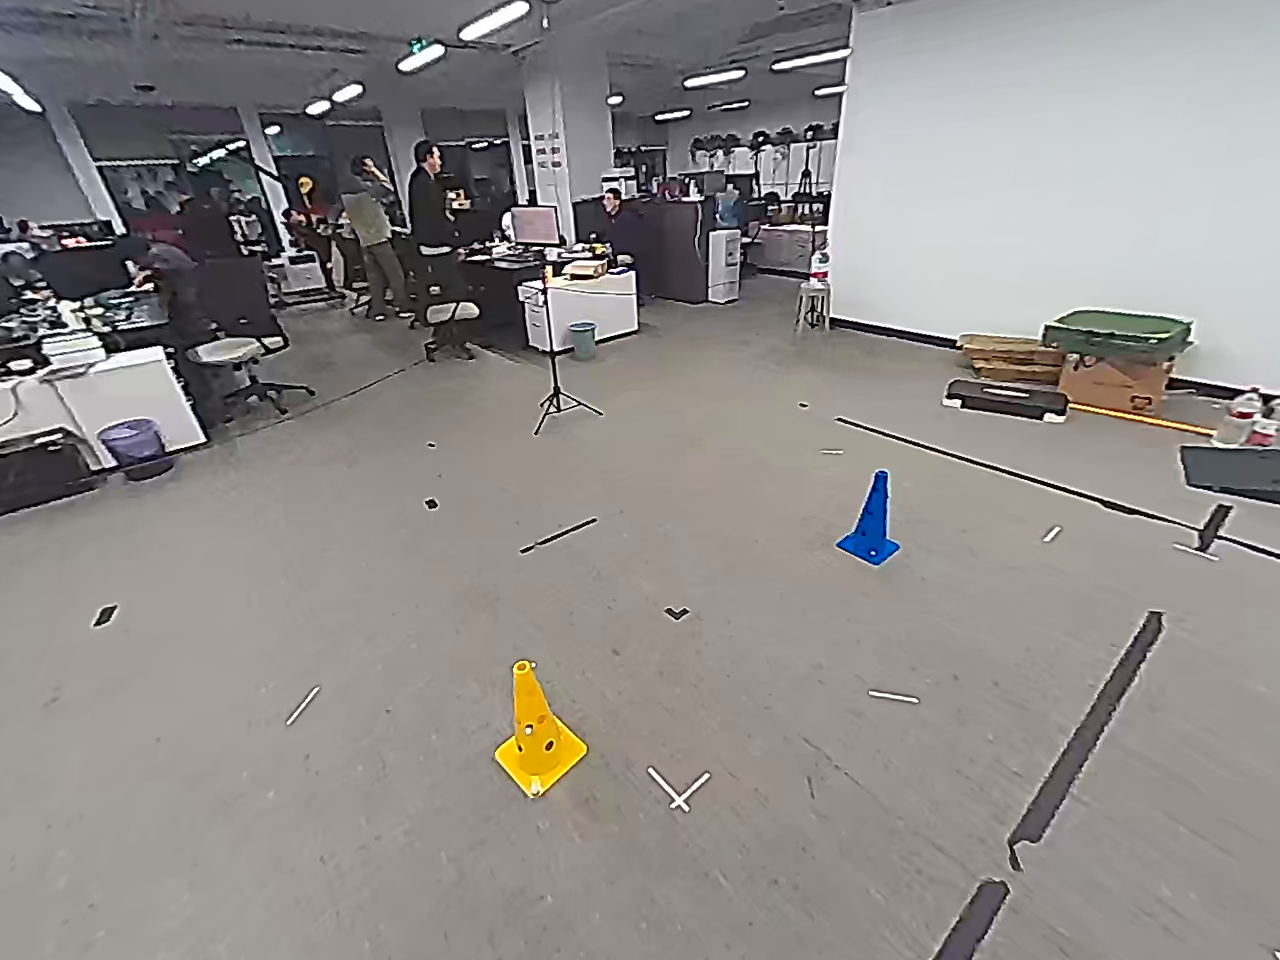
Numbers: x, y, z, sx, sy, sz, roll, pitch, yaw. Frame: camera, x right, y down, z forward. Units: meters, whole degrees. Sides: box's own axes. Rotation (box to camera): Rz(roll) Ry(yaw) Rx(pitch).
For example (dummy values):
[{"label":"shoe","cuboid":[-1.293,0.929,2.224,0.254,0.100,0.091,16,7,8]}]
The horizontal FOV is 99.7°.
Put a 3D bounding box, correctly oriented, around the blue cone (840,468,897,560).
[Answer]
[{"label":"blue cone","cuboid":[0.960,0.126,2.207,0.193,0.380,0.192,-23,34,-31]}]
